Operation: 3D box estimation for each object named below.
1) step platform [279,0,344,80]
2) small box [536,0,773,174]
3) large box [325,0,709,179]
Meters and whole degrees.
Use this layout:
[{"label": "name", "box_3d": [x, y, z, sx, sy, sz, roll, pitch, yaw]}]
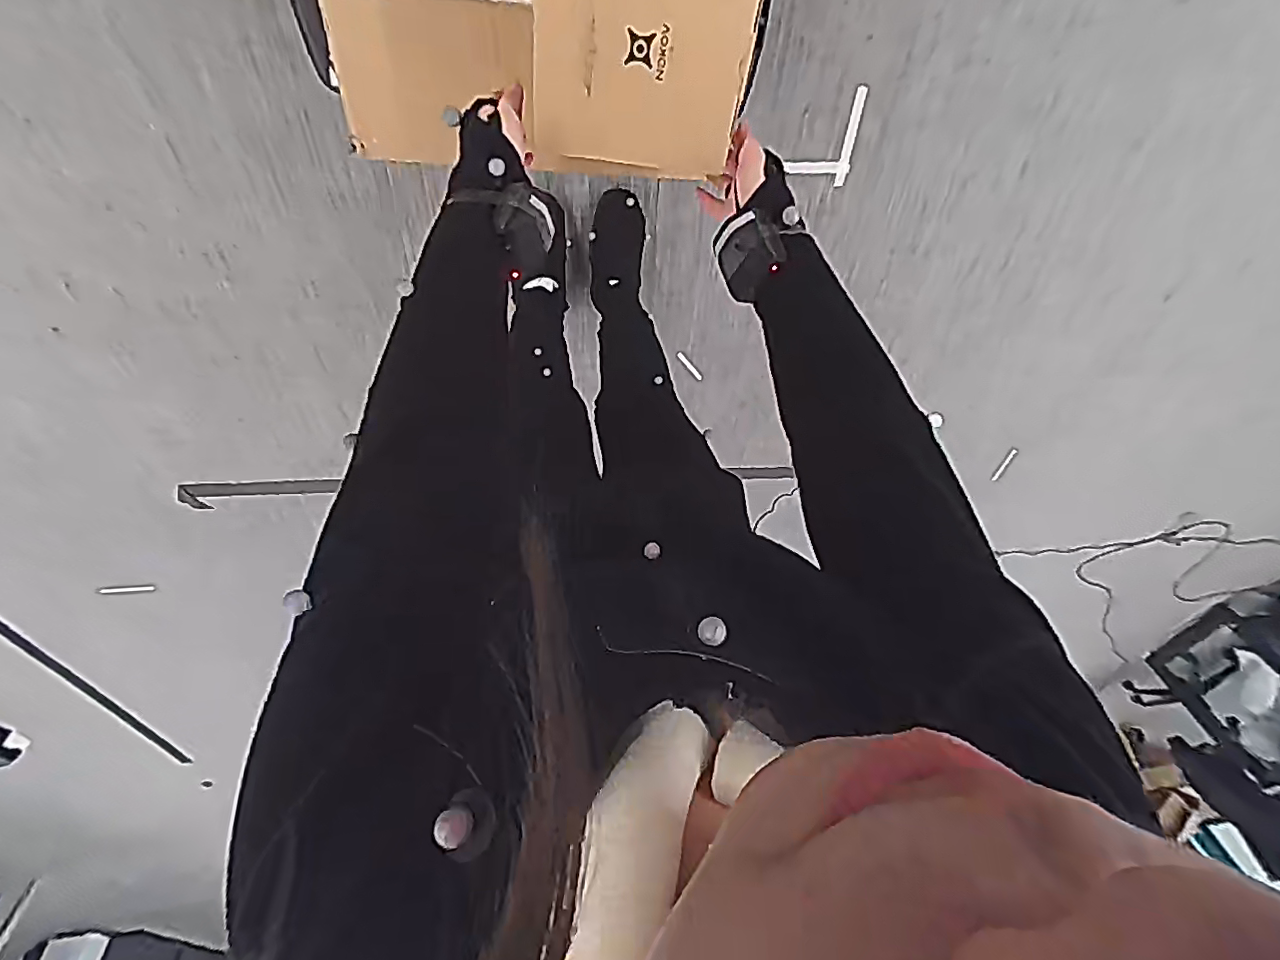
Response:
[{"label": "step platform", "box_3d": [-0.162, -0.720, 0.808, 0.684, 0.204, 0.286, 3, 132, -12]}, {"label": "small box", "box_3d": [0.001, -0.393, 0.474, 0.179, 0.176, 0.168, 2, 133, -11]}, {"label": "large box", "box_3d": [-0.113, -0.570, 0.627, 0.408, 0.320, 0.320, -1, 132, -8]}]
